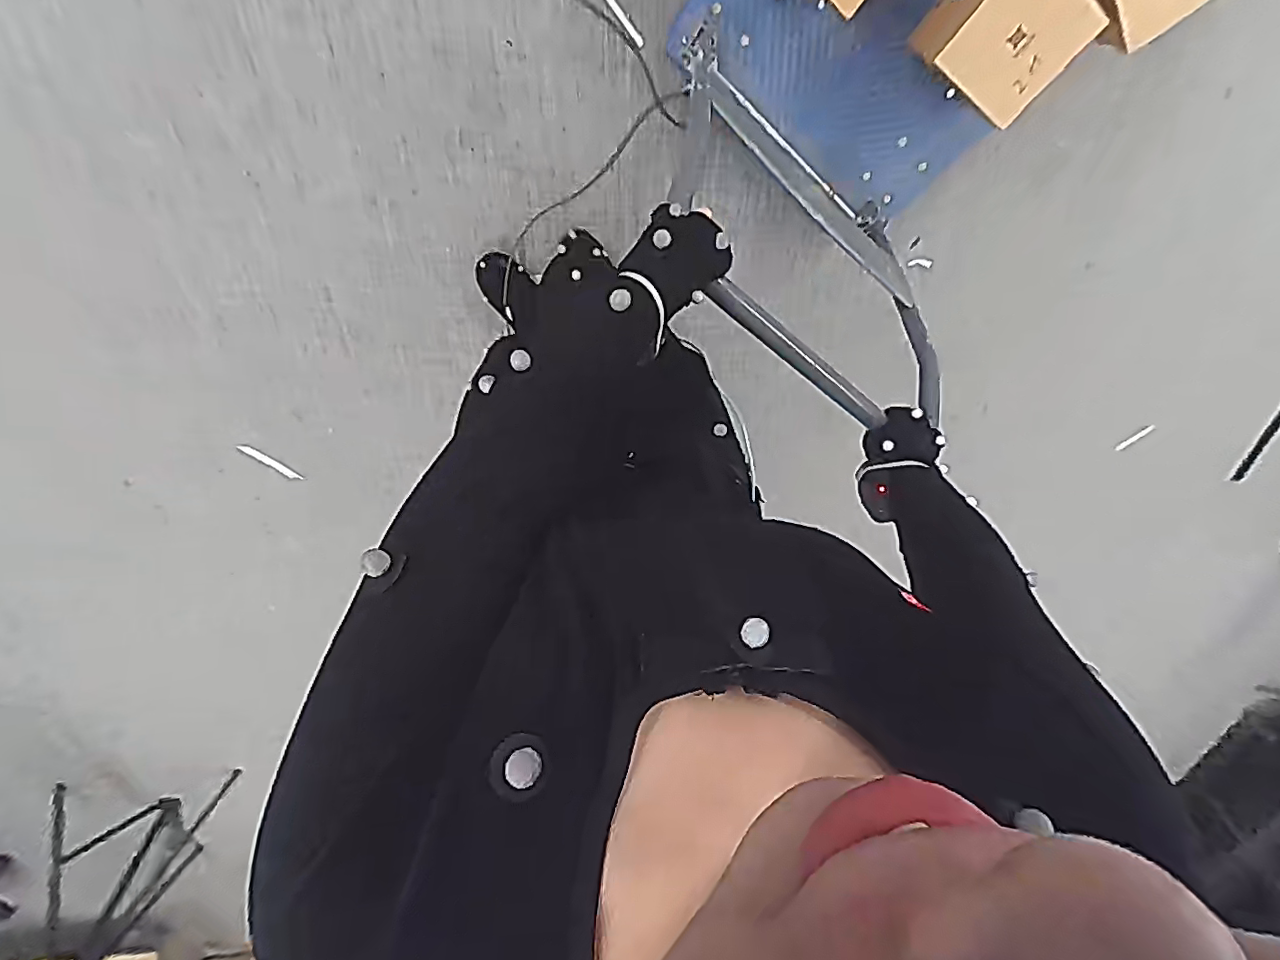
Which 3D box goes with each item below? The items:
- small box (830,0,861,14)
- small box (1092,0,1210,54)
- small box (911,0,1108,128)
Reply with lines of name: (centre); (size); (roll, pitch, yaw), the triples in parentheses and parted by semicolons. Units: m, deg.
small box: (0.287, -0.818, 0.763); (0.179, 0.176, 0.168); (27, 133, -25)
small box: (0.740, -0.770, 0.769); (0.179, 0.176, 0.168); (-28, 128, 32)
small box: (0.566, -0.709, 0.854); (0.179, 0.176, 0.168); (26, 134, -20)
